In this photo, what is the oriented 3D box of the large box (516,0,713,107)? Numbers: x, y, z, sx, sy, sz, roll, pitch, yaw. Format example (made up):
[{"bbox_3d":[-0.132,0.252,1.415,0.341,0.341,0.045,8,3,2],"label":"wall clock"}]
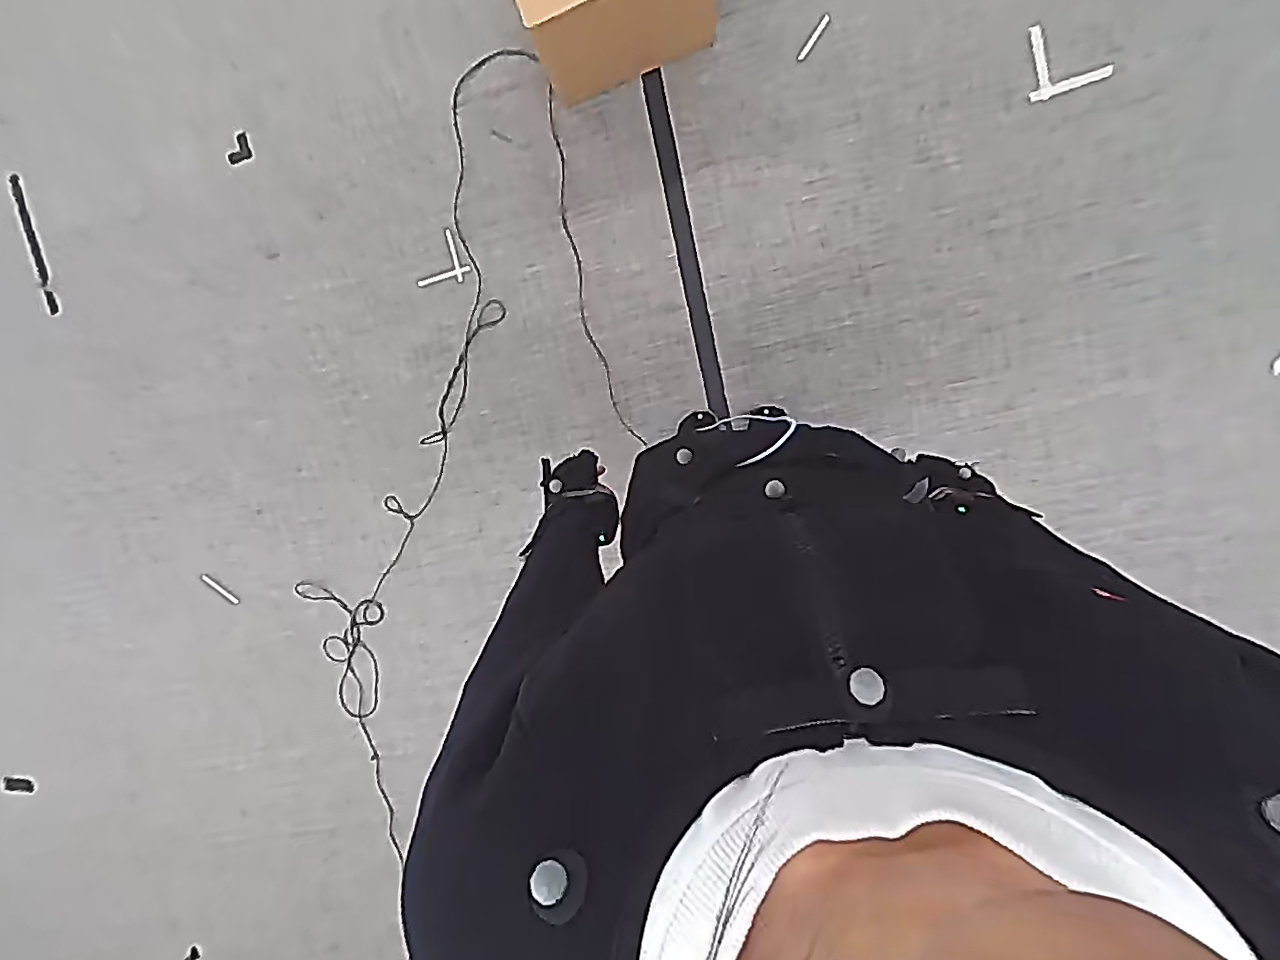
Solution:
[{"bbox_3d":[-0.078,-1.117,1.172,0.408,0.320,0.320,-19,97,8],"label":"large box"}]
